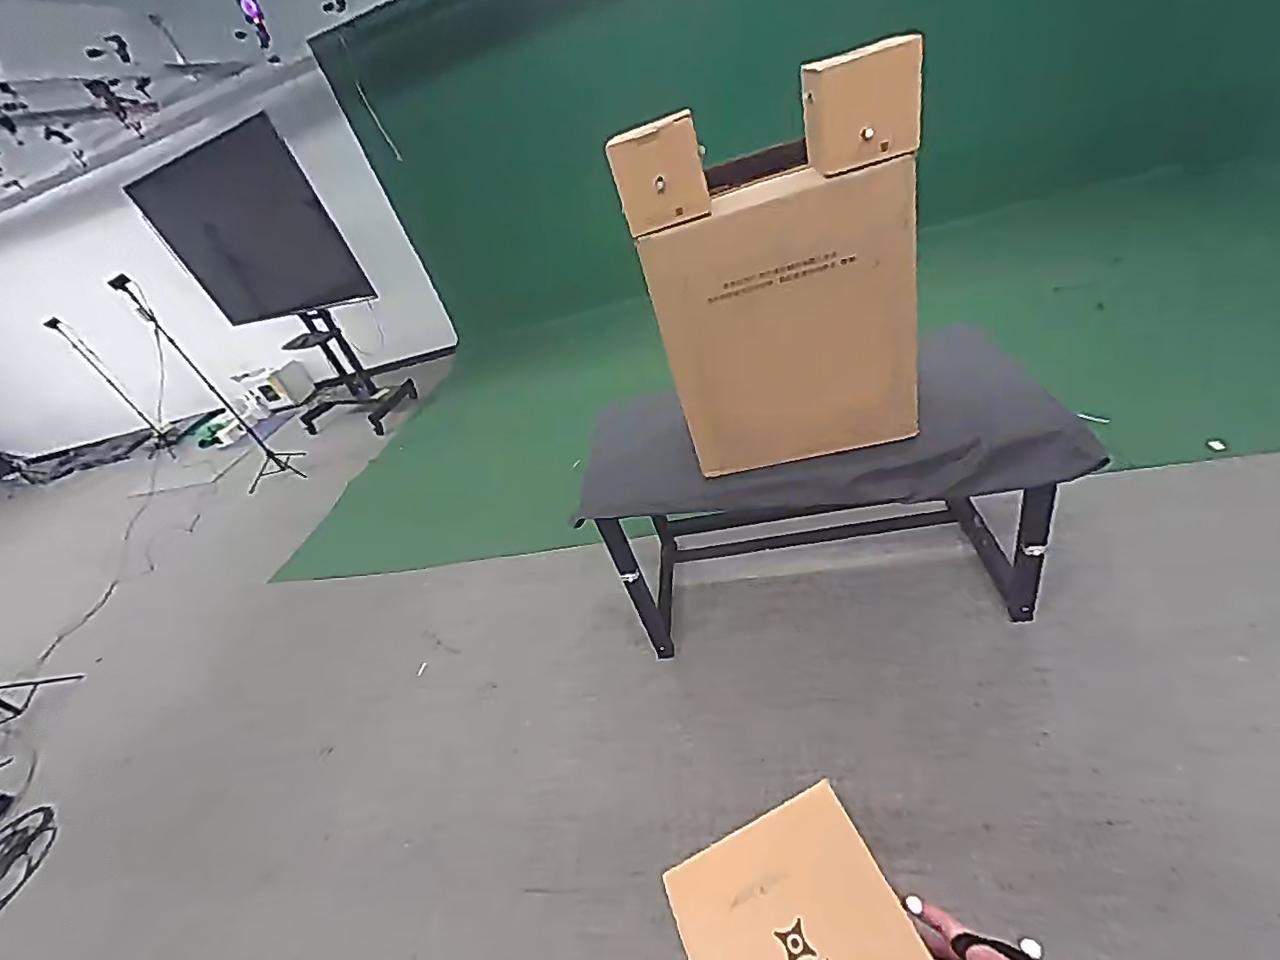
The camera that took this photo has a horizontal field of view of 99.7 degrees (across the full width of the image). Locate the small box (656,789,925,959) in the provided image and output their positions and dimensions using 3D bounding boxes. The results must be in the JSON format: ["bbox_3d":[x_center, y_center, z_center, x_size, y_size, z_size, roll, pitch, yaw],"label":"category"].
[{"bbox_3d":[0.141,0.400,0.443,0.168,0.176,0.179,-30,38,1],"label":"small box"}]

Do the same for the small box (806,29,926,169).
[{"bbox_3d":[0.407,-0.693,0.992,0.168,0.176,0.179,-11,37,13],"label":"small box"}]

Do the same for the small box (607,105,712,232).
[{"bbox_3d":[0.046,-0.618,1.084,0.168,0.176,0.179,-12,36,14],"label":"small box"}]
